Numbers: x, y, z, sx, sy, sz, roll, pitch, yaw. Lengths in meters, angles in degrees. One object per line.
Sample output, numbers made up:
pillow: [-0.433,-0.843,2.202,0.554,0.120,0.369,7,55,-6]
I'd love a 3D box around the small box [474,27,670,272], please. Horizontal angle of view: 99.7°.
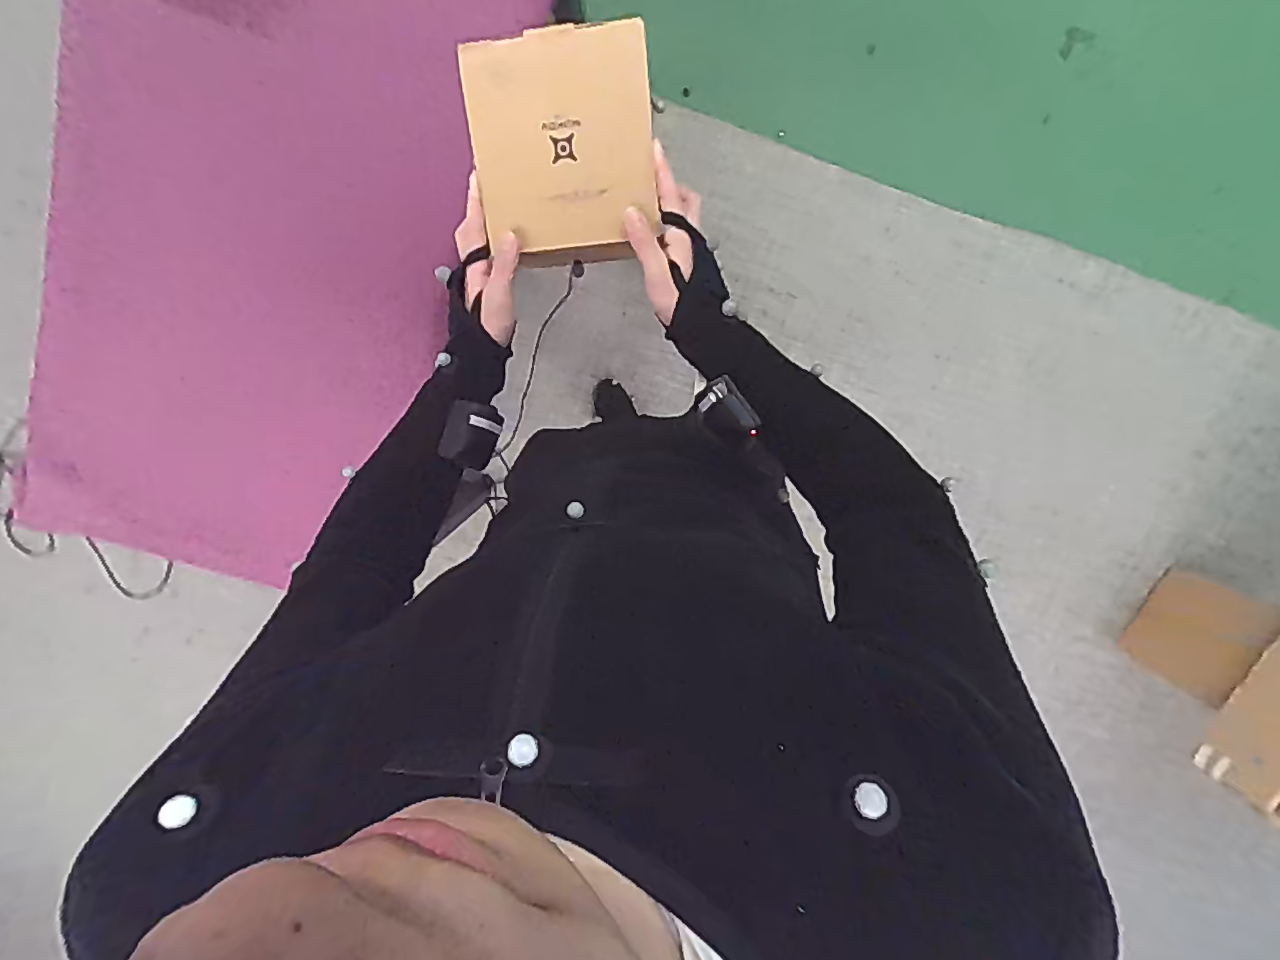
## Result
small box: [-0.056,-0.322,0.564,0.168,0.176,0.179,-3,107,4]
